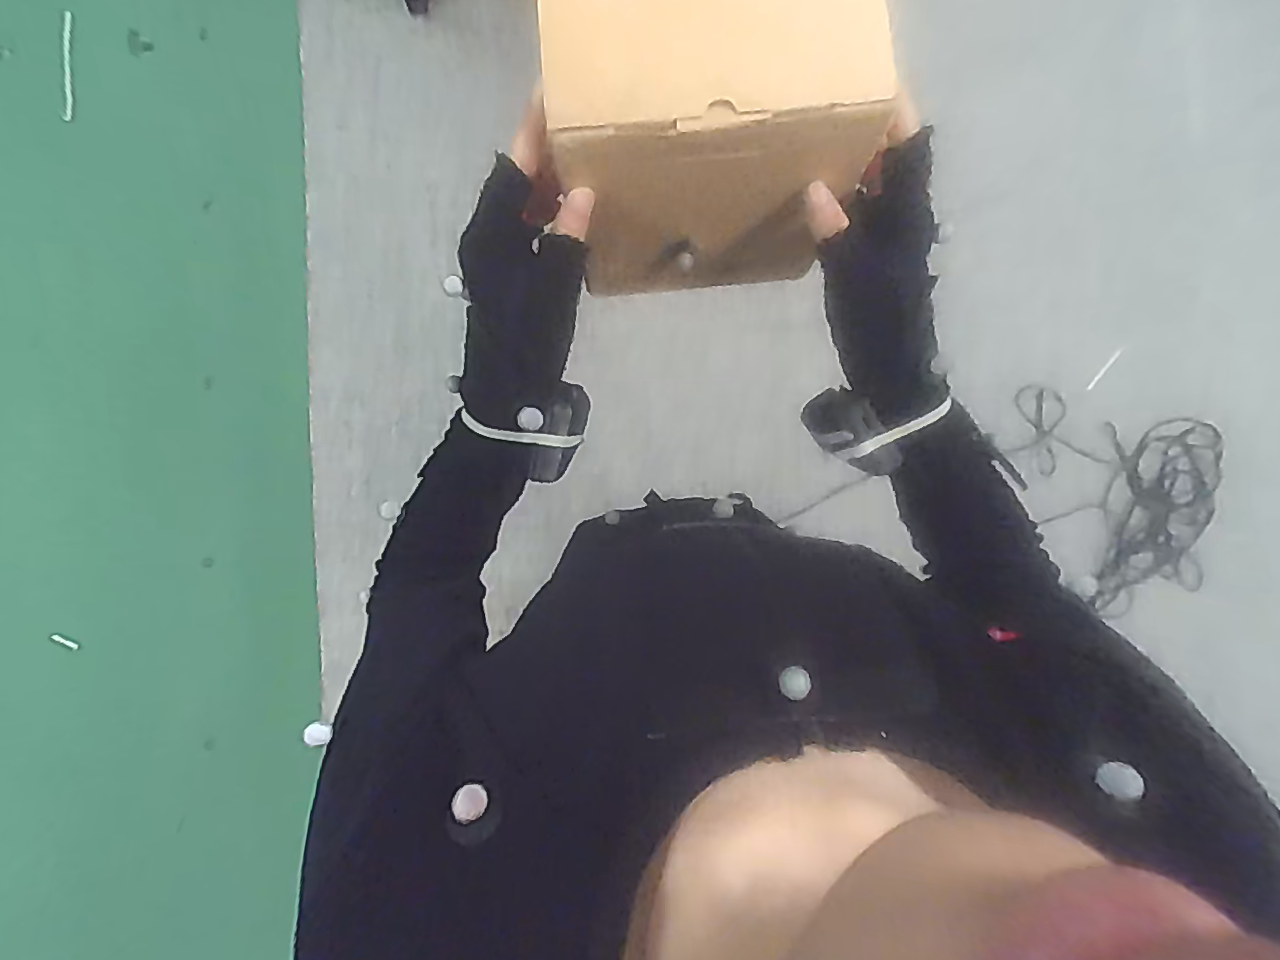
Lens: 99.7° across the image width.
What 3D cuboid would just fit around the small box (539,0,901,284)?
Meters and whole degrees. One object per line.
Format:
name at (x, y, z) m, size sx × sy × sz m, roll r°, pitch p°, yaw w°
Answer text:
small box at (0.033, -0.247, 0.335) m, size 0.168 × 0.176 × 0.179 m, roll -5°, pitch 83°, yaw 1°
